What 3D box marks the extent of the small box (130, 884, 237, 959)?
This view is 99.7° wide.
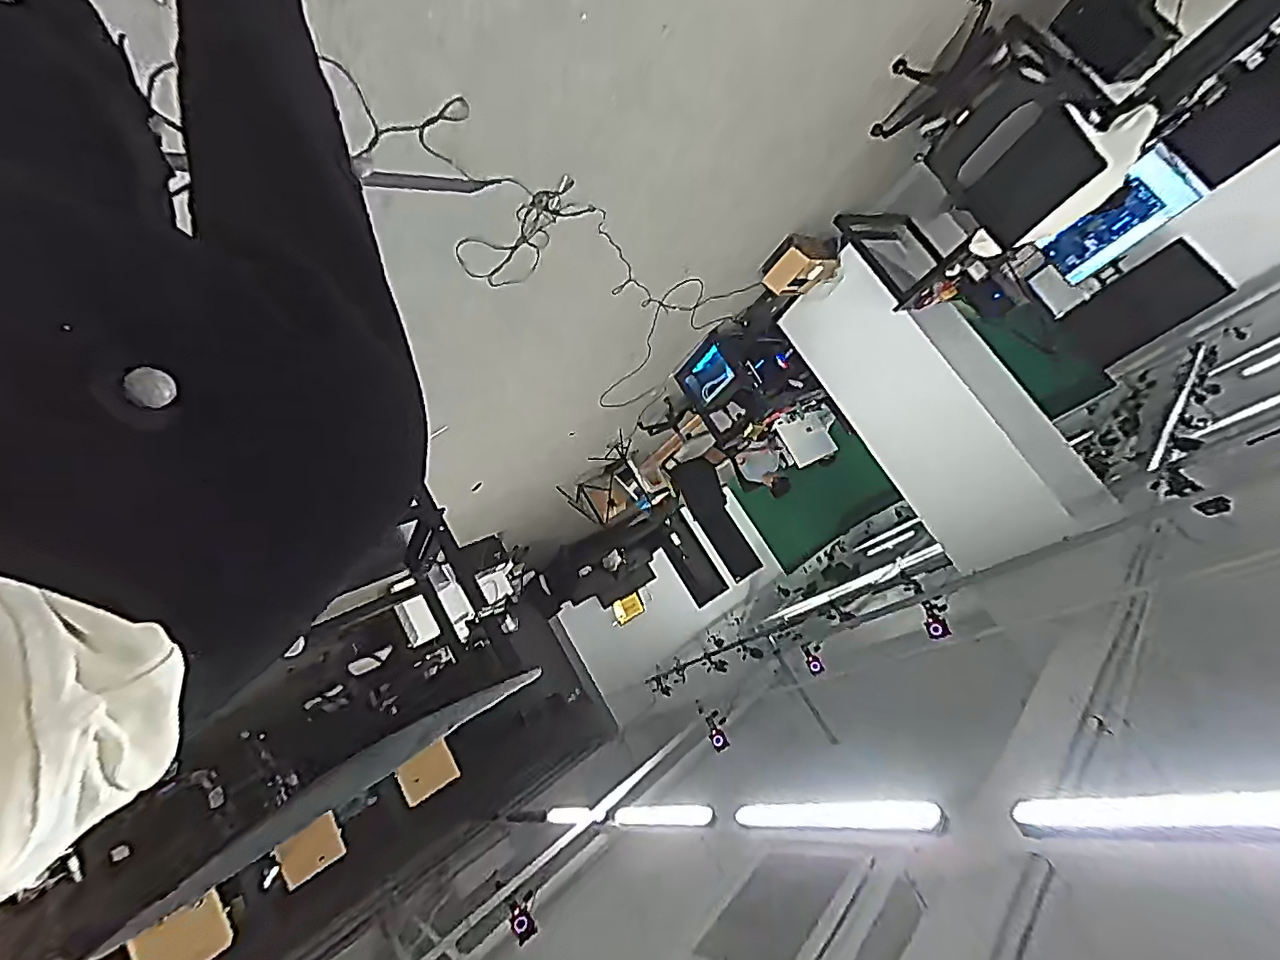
[{"bbox_3d":[-1.162,1.178,1.383,0.168,0.176,0.179,-22,168,-42],"label":"small box"}]

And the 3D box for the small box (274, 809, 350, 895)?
[{"bbox_3d":[-1.083,1.219,1.784,0.168,0.176,0.179,-23,165,-39],"label":"small box"}]
